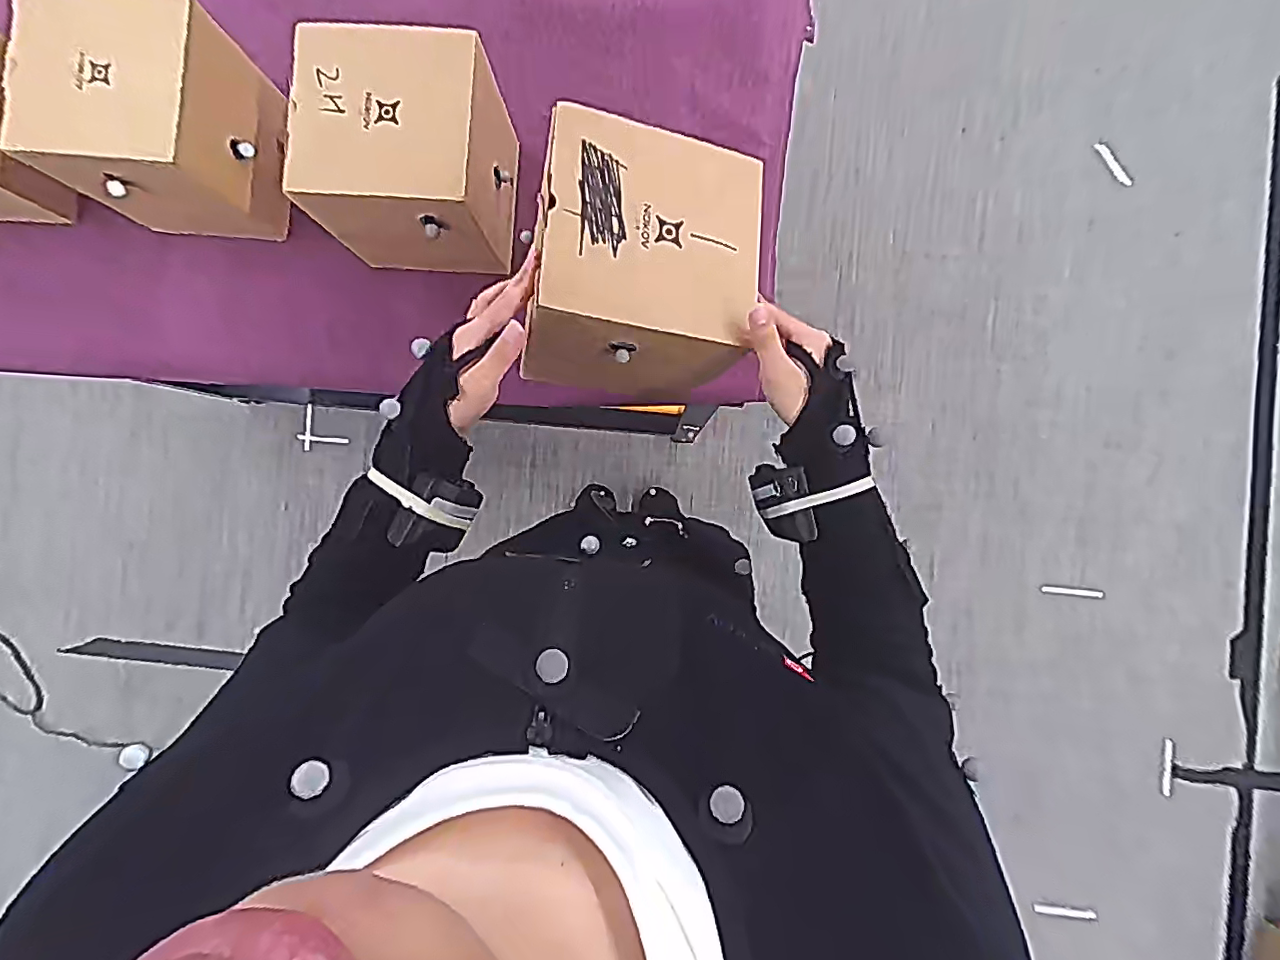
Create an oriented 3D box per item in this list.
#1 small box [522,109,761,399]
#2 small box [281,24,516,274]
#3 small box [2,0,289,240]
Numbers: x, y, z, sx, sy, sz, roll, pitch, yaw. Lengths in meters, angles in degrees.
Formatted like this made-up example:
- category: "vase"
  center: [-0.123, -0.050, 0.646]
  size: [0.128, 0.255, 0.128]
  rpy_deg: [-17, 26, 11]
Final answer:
- category: "small box"
  center: [-0.009, -0.180, 0.491]
  size: [0.179, 0.176, 0.168]
  rpy_deg: [6, 82, -15]
- category: "small box"
  center: [-0.242, -0.338, 0.585]
  size: [0.179, 0.176, 0.168]
  rpy_deg: [4, 87, 2]
- category: "small box"
  center: [-0.516, -0.384, 0.596]
  size: [0.179, 0.176, 0.168]
  rpy_deg: [5, 89, 2]
